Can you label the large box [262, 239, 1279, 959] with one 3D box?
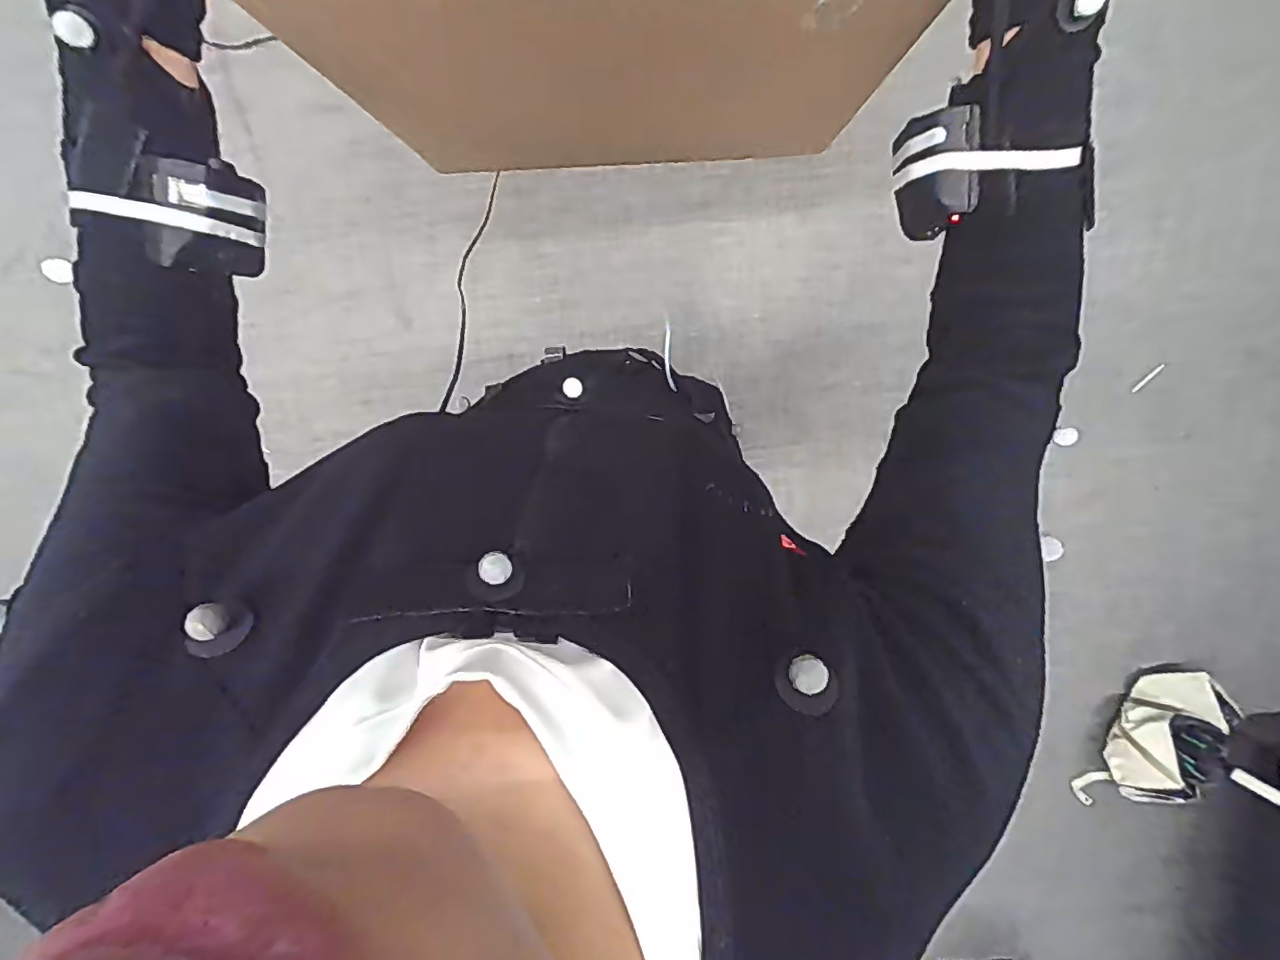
[{"bbox_3d":[0.113,0.130,0.324,0.320,0.320,0.408,20,72,29],"label":"large box"}]
